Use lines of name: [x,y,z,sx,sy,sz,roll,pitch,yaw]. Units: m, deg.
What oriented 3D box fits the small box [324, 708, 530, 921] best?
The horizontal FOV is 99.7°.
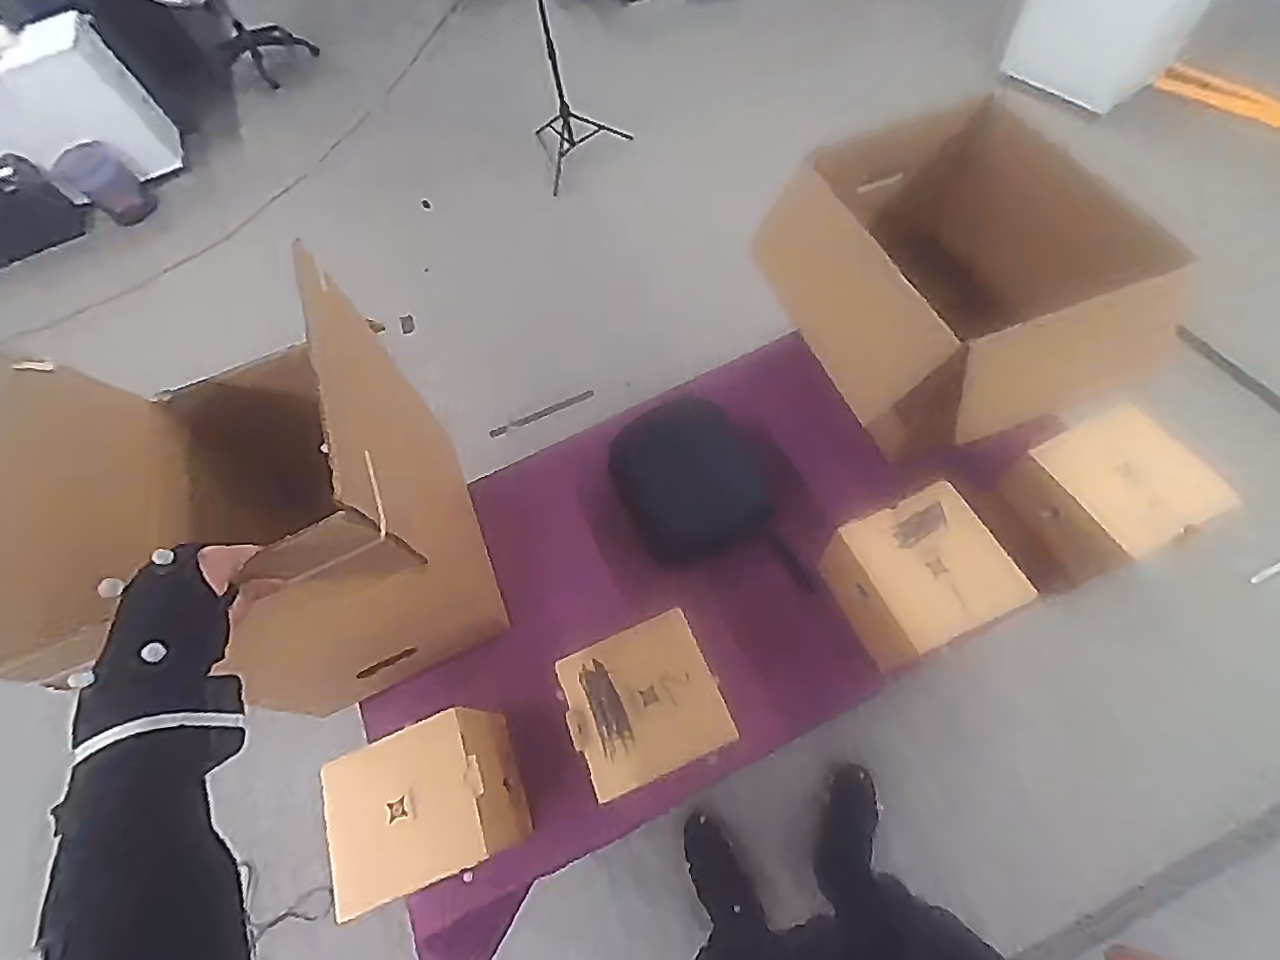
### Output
small box: [-0.263,0.415,0.691,0.179,0.176,0.168,-23,62,-5]
